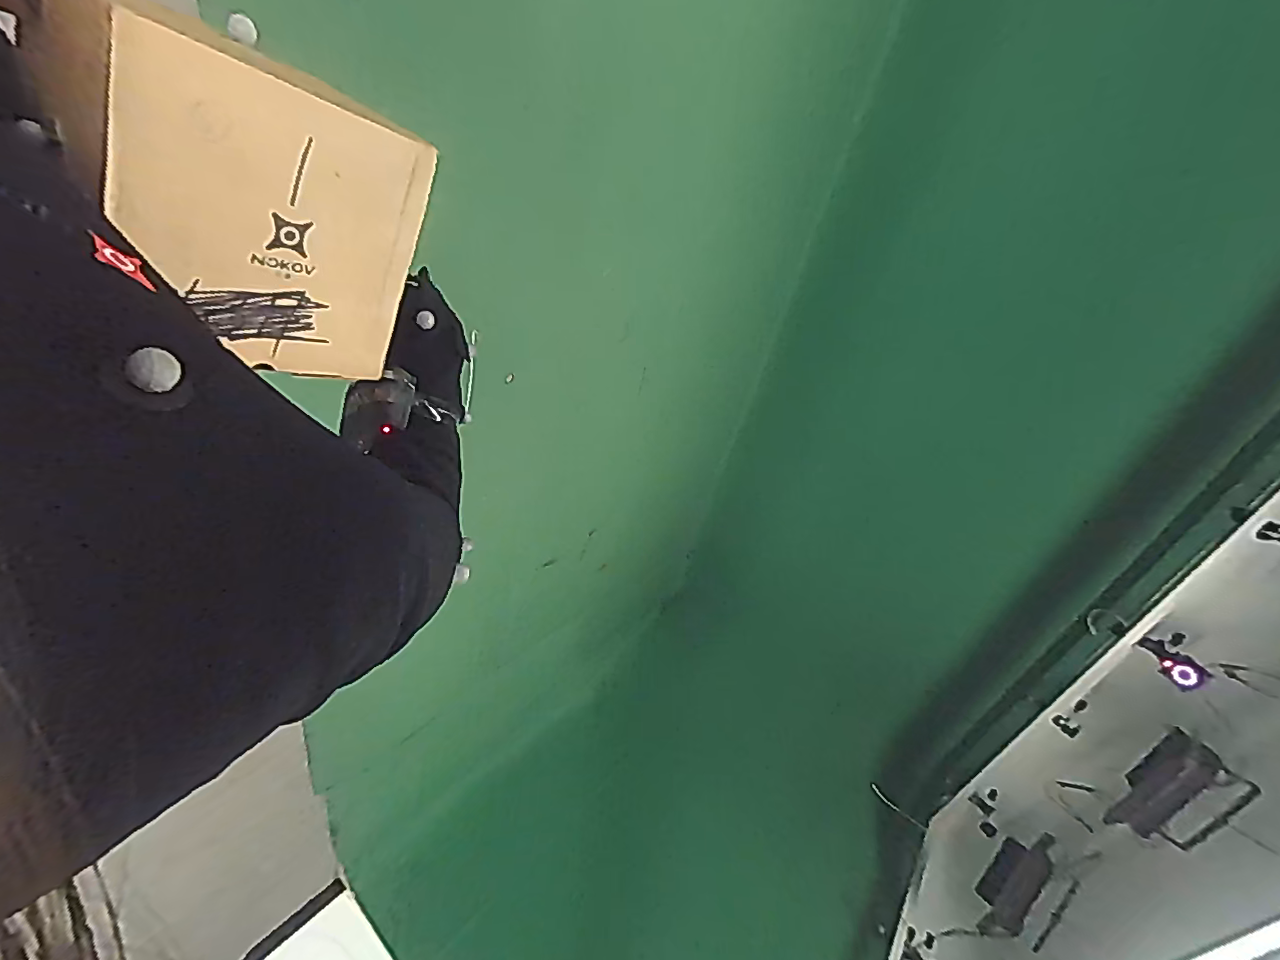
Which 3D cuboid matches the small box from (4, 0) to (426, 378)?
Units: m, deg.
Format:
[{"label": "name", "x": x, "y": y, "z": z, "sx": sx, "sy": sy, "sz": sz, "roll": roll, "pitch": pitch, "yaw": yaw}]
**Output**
[{"label": "small box", "x": -0.284, "y": -0.191, "z": 0.365, "sx": 0.168, "sy": 0.176, "sz": 0.179, "roll": -11, "pitch": 134, "yaw": -57}]
